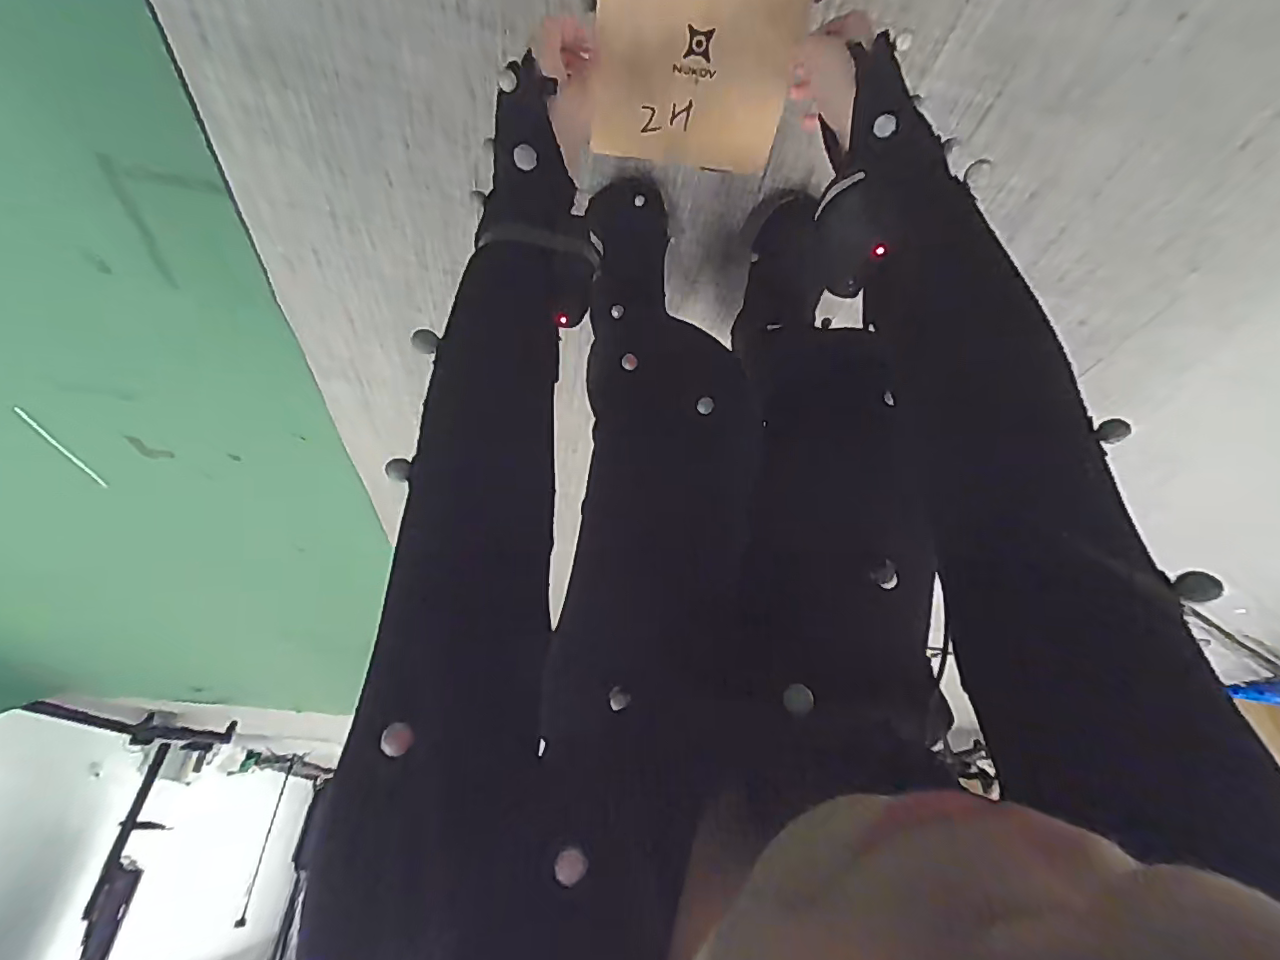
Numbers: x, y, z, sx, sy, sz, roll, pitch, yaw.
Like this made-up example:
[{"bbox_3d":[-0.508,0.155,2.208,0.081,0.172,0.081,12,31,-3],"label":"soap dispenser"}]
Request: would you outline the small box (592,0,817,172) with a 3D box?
[{"bbox_3d":[0.049,-0.411,0.476,0.168,0.176,0.179,6,145,-4],"label":"small box"}]
